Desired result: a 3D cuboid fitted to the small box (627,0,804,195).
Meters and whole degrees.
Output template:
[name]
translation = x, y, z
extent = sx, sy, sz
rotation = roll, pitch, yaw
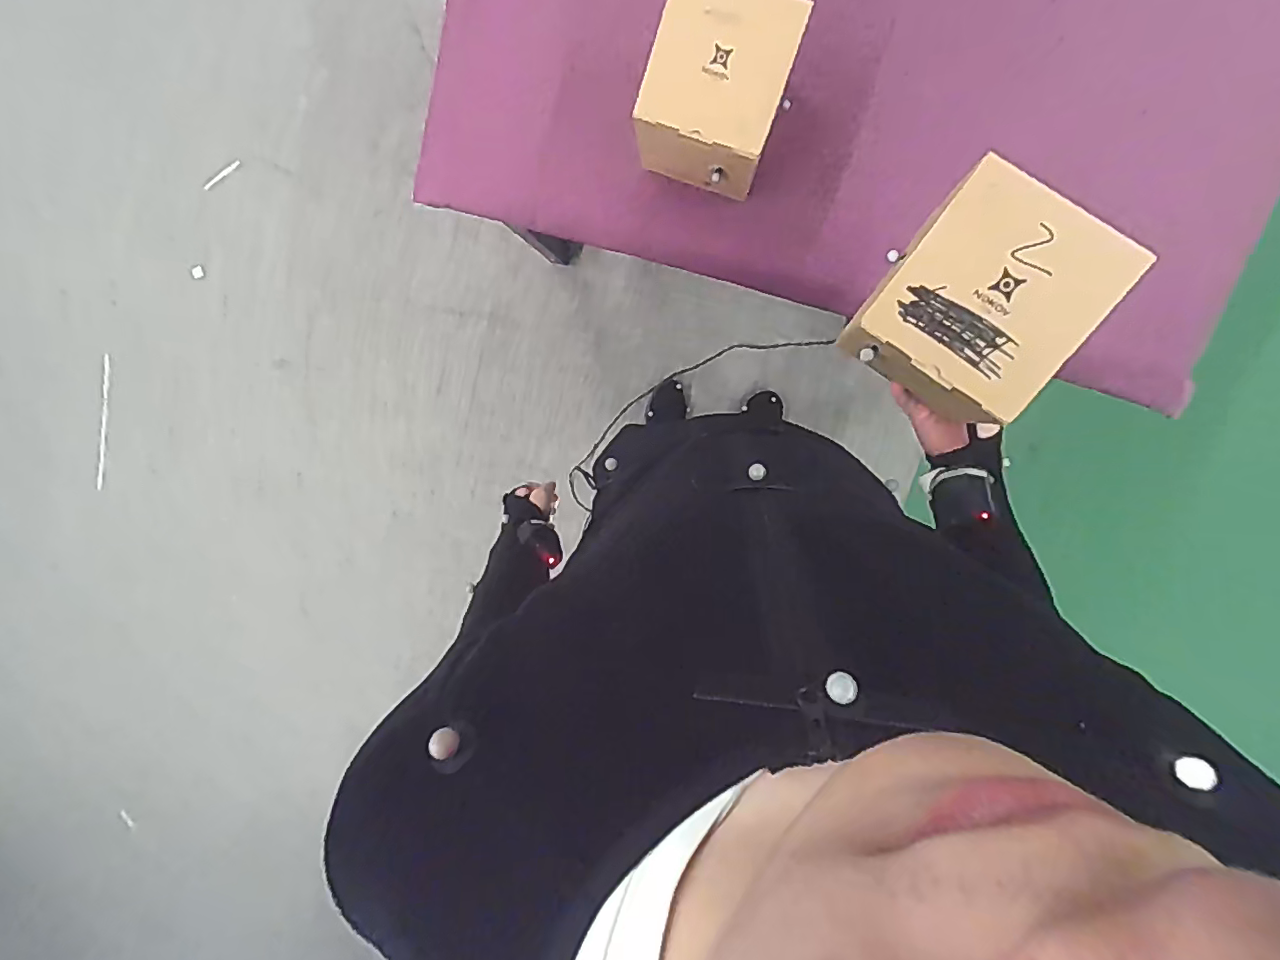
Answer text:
[small box]
translation = 0.094, -0.514, 0.722
extent = 0.168, 0.176, 0.179
rotation = 20, 101, 0
